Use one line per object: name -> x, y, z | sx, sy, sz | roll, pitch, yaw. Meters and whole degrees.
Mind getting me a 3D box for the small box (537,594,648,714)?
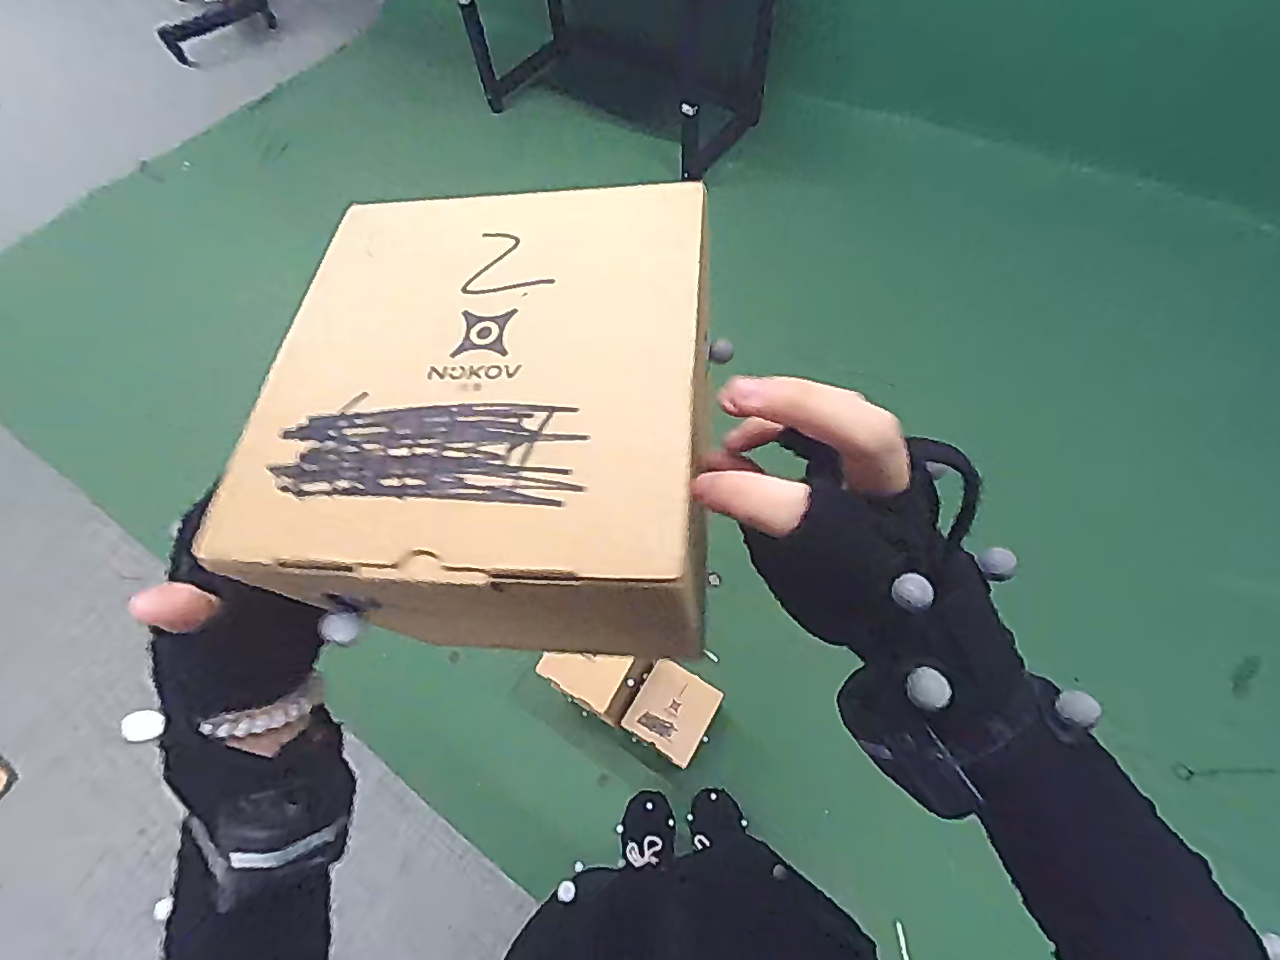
small box -> -0.093, 0.379, 1.164 | 0.168, 0.176, 0.179 | 26, 67, 16
